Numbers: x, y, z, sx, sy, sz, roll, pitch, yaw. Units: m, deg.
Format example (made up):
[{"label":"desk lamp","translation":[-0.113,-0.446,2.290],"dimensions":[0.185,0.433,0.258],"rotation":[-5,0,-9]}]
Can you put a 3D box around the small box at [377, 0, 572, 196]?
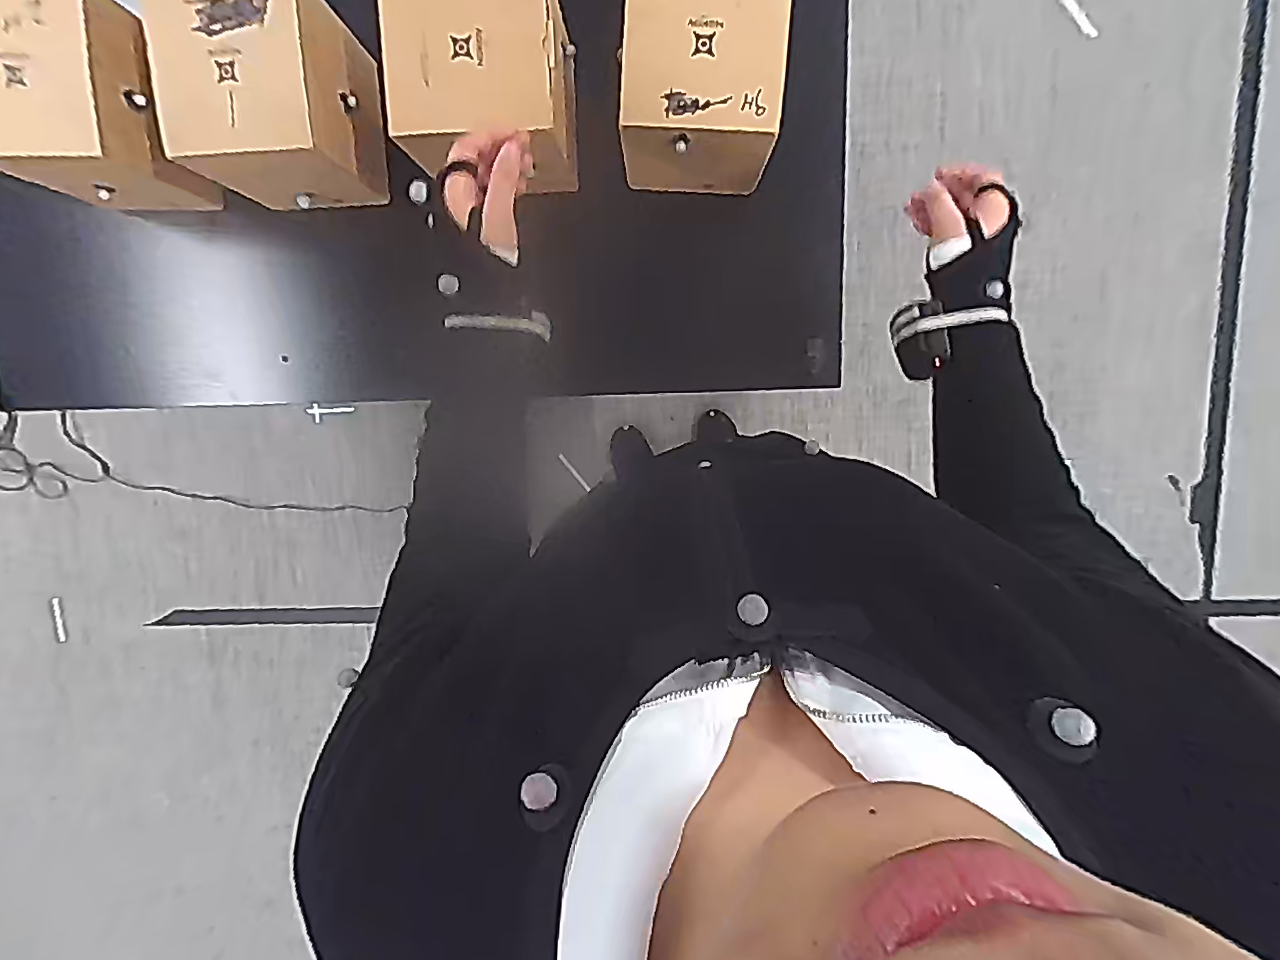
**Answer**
[{"label":"small box","translation":[-0.176,-0.450,0.630],"dimensions":[0.179,0.176,0.168],"rotation":[-1,97,3]}]

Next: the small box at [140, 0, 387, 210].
[{"label":"small box","translation":[-0.424,-0.441,0.637],"dimensions":[0.168,0.176,0.179],"rotation":[-3,100,2]}]

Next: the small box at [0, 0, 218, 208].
[{"label":"small box","translation":[-0.648,-0.442,0.645],"dimensions":[0.168,0.176,0.179],"rotation":[1,98,1]}]

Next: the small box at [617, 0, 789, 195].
[{"label":"small box","translation":[0.065,-0.455,0.618],"dimensions":[0.168,0.176,0.179],"rotation":[4,98,2]}]
